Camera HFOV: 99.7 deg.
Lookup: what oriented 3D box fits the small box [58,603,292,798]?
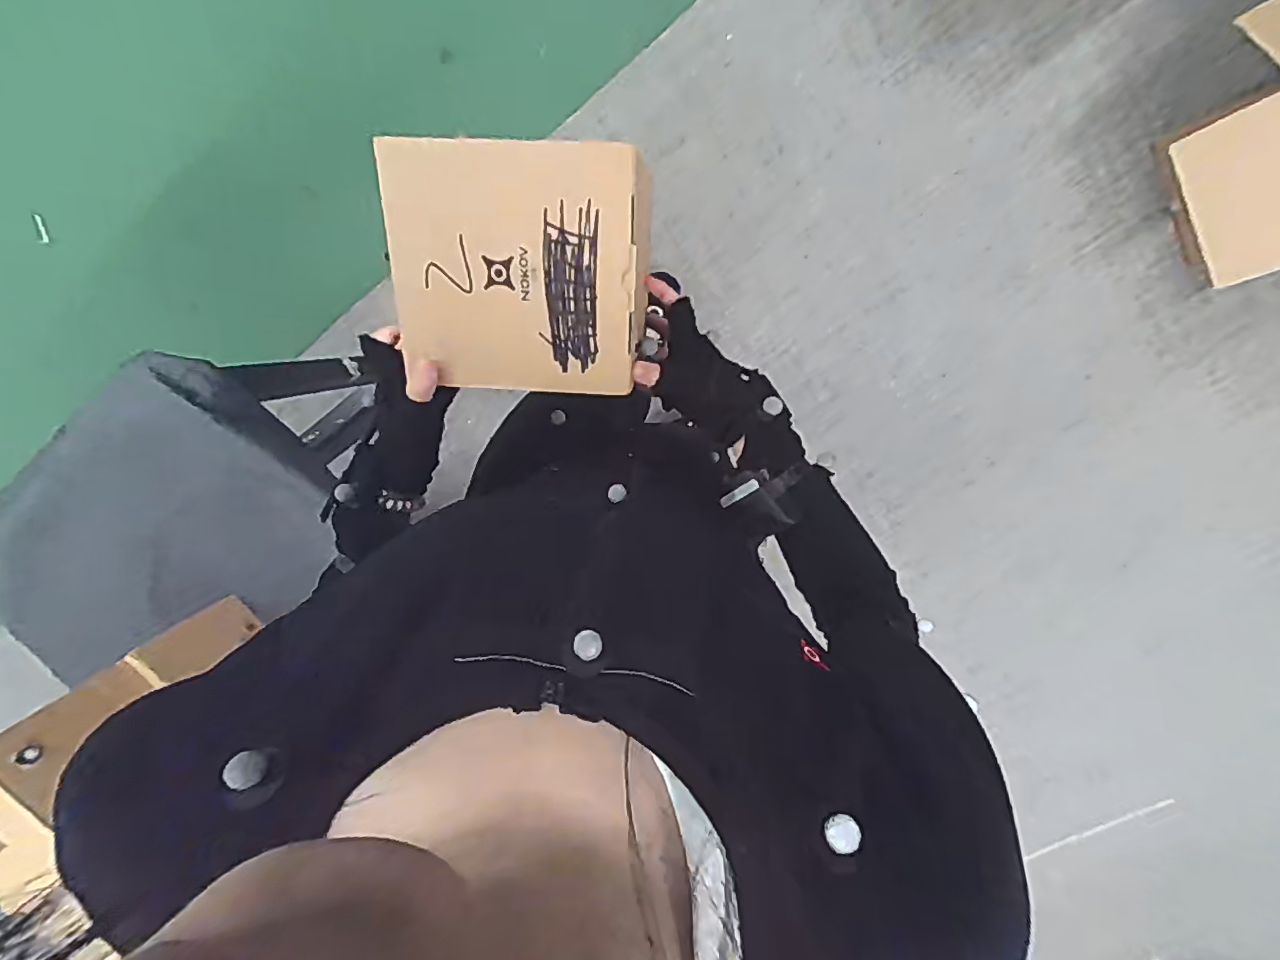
[{"bbox_3d":[-0.681,0.322,0.814,0.179,0.176,0.168,-36,100,13],"label":"small box"}]
